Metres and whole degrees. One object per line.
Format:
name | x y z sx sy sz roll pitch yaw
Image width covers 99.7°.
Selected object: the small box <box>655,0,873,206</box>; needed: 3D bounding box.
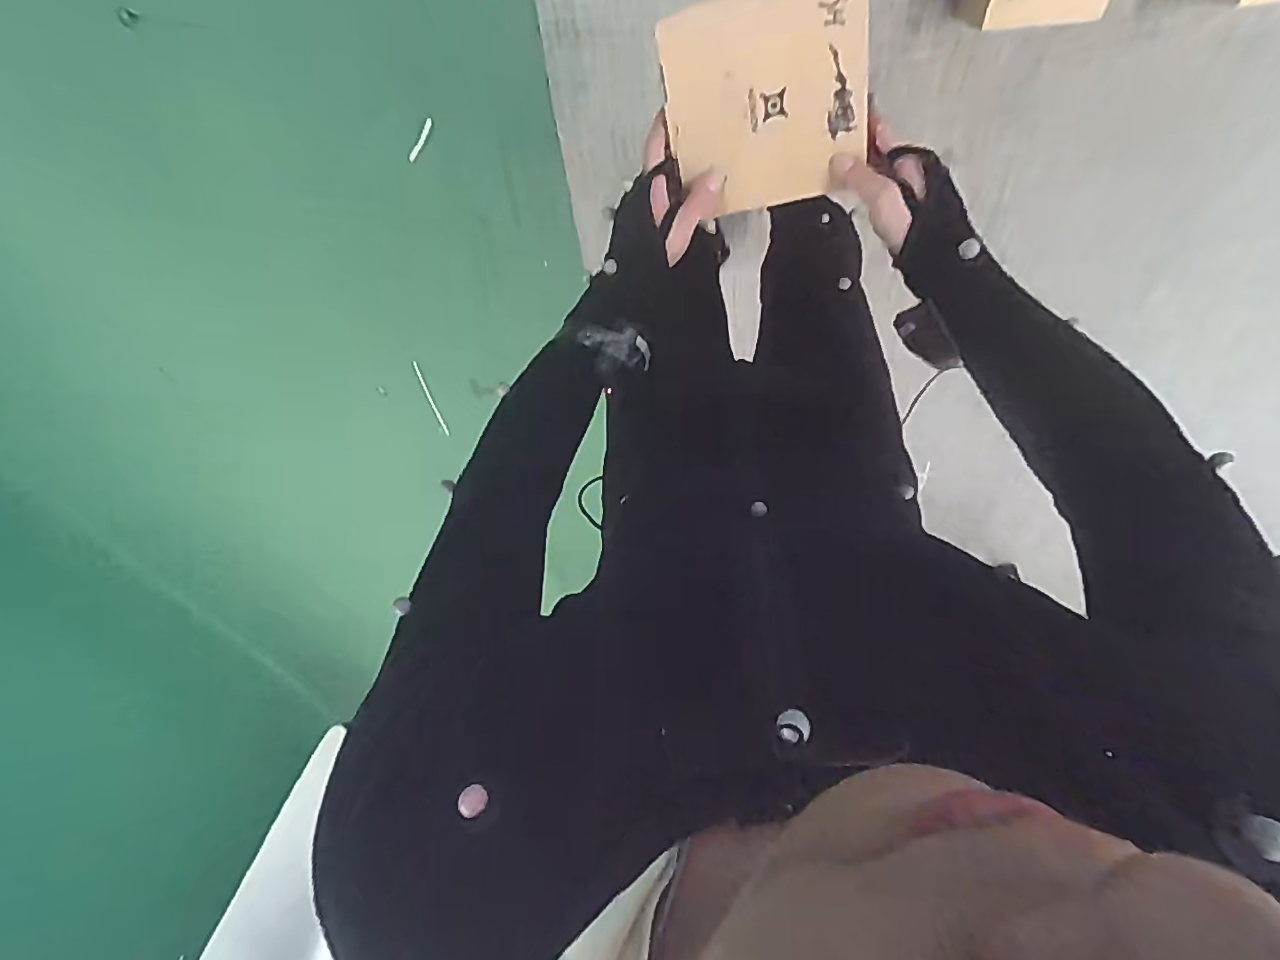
small box | 0.127 -0.392 0.537 0.179 0.176 0.168 -3 127 16
